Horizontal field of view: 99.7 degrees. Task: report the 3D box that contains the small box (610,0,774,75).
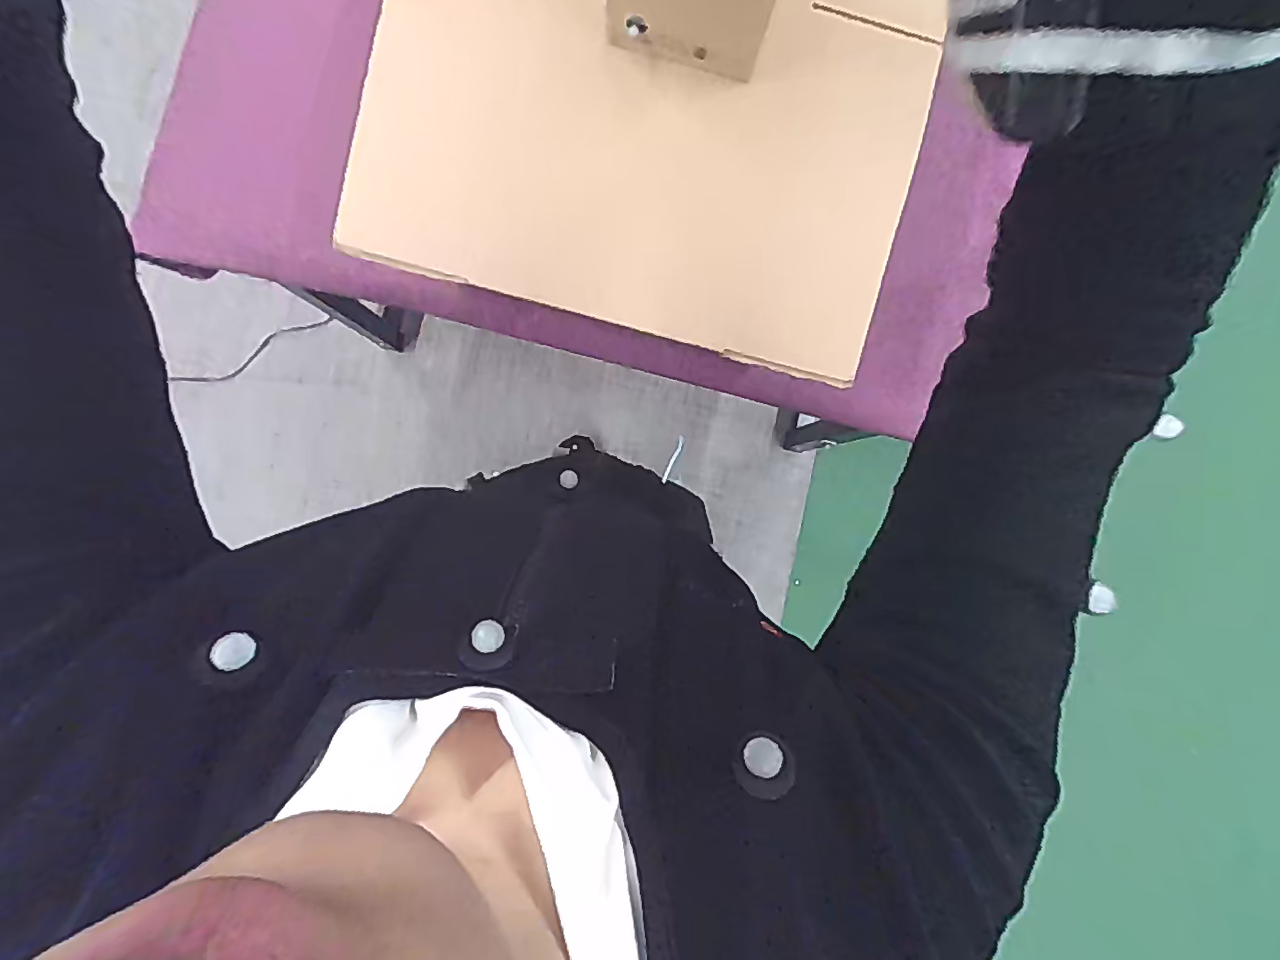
[{"bbox_3d":[0.068,-0.549,0.524,0.168,0.176,0.179,14,85,-3],"label":"small box"}]
